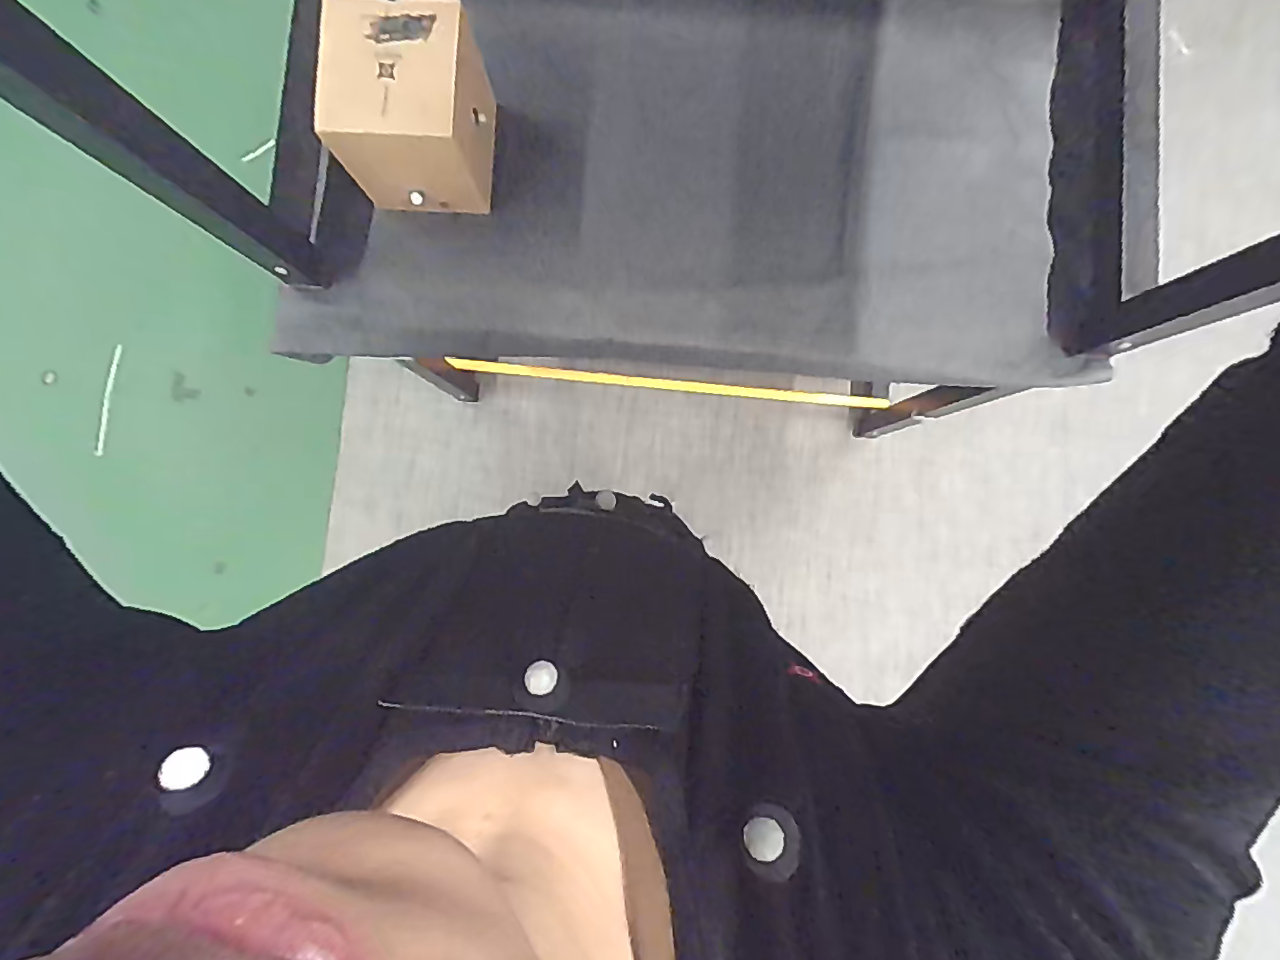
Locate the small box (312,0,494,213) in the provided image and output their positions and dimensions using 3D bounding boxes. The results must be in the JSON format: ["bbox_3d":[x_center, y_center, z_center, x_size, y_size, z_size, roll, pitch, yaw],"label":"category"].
[{"bbox_3d":[-0.298,-0.487,0.717,0.168,0.176,0.179,3,87,0],"label":"small box"}]
